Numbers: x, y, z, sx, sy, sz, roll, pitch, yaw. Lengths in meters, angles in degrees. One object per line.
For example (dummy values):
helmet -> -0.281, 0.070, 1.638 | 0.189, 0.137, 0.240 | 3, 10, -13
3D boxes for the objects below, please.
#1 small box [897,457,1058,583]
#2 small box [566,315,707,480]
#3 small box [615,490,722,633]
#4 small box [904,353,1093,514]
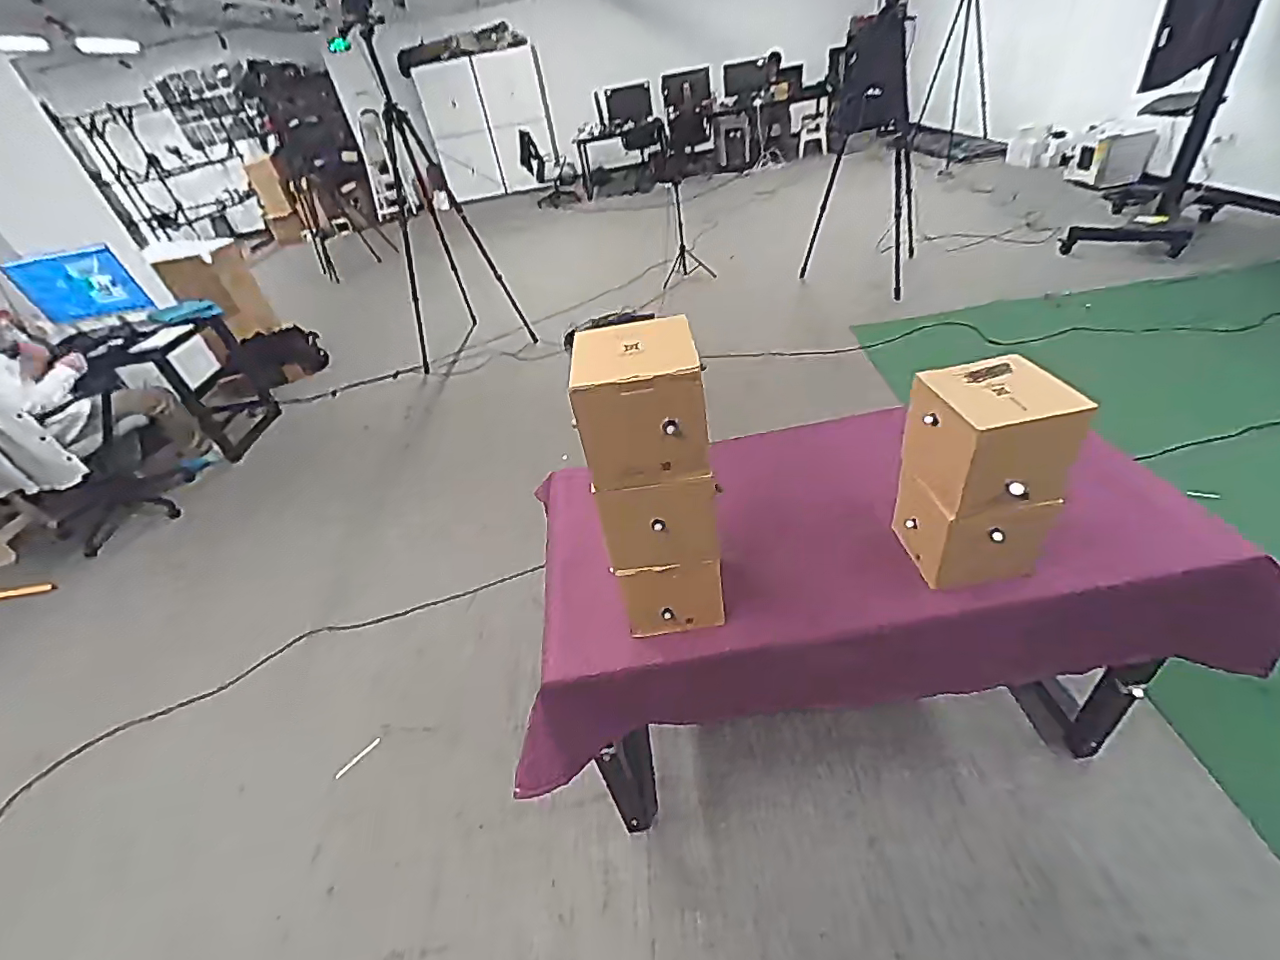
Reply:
small box -> 0.564, 0.059, 0.936 | 0.179, 0.176, 0.168 | -9, 38, 4
small box -> 0.000, -0.112, 0.772 | 0.168, 0.176, 0.179 | -8, 37, 4
small box -> 0.050, 0.145, 0.968 | 0.168, 0.176, 0.179 | -9, 38, 3
small box -> 0.535, -0.073, 0.842 | 0.168, 0.176, 0.179 | -11, 38, 2
